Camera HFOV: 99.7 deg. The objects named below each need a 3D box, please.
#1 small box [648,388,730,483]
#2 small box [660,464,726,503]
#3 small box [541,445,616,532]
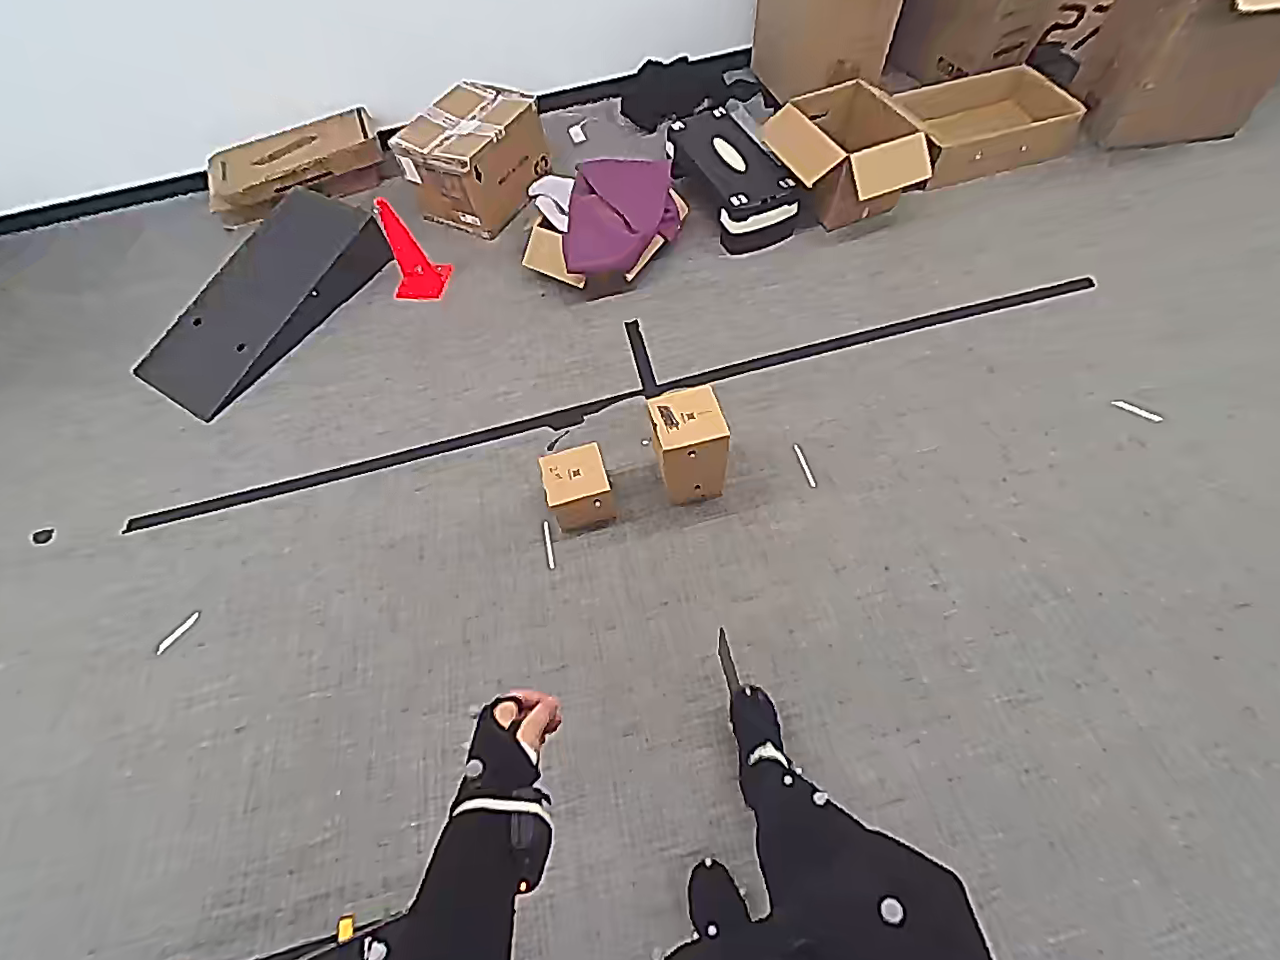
[{"bbox_3d":[0.128,-0.112,1.426,0.179,0.176,0.168,-14,61,-3],"label":"small box"},{"bbox_3d":[0.148,-0.047,1.579,0.168,0.176,0.179,-12,61,-2],"label":"small box"},{"bbox_3d":[-0.171,0.028,1.566,0.179,0.176,0.168,-16,60,-3],"label":"small box"}]
